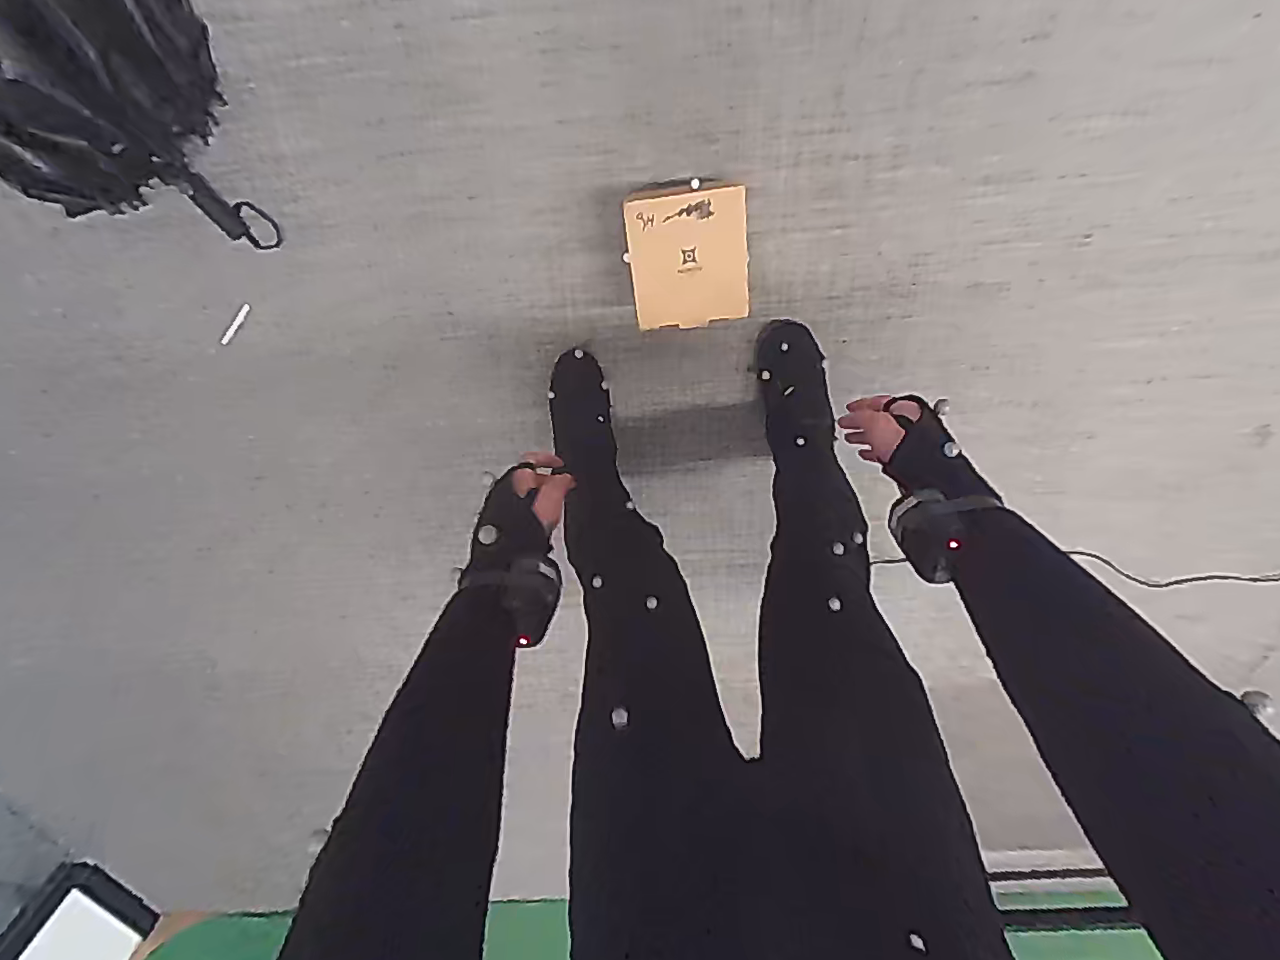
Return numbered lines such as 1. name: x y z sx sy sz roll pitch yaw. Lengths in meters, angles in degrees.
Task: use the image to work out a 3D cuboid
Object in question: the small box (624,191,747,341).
1. small box: 0.071 -0.333 0.834 0.168 0.176 0.179 -6 121 4
